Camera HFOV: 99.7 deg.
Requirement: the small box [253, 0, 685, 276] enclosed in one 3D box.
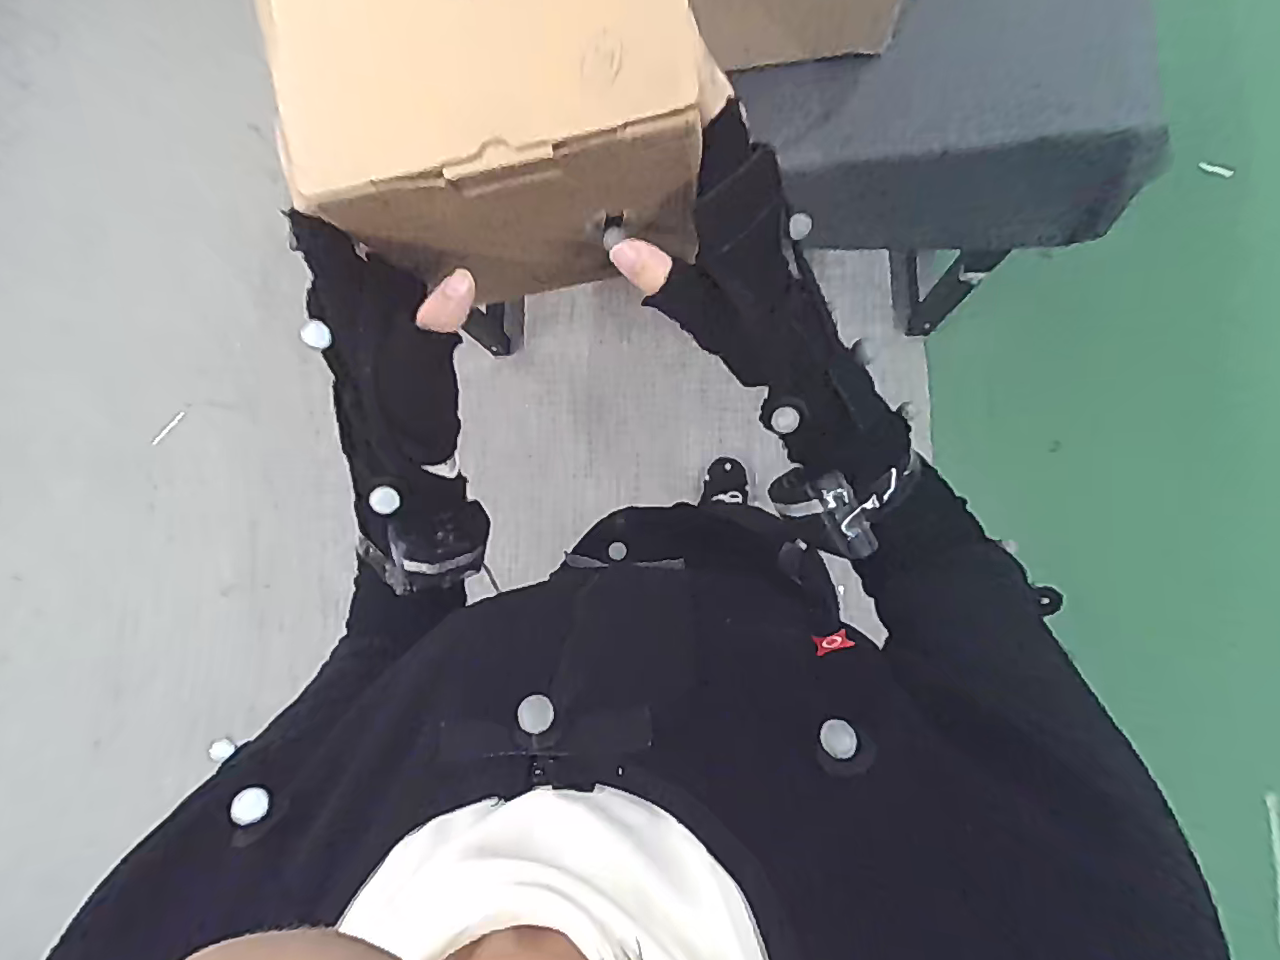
[{"bbox_3d":[-0.068,-0.222,0.285,0.168,0.176,0.179,-10,93,4],"label":"small box"}]
